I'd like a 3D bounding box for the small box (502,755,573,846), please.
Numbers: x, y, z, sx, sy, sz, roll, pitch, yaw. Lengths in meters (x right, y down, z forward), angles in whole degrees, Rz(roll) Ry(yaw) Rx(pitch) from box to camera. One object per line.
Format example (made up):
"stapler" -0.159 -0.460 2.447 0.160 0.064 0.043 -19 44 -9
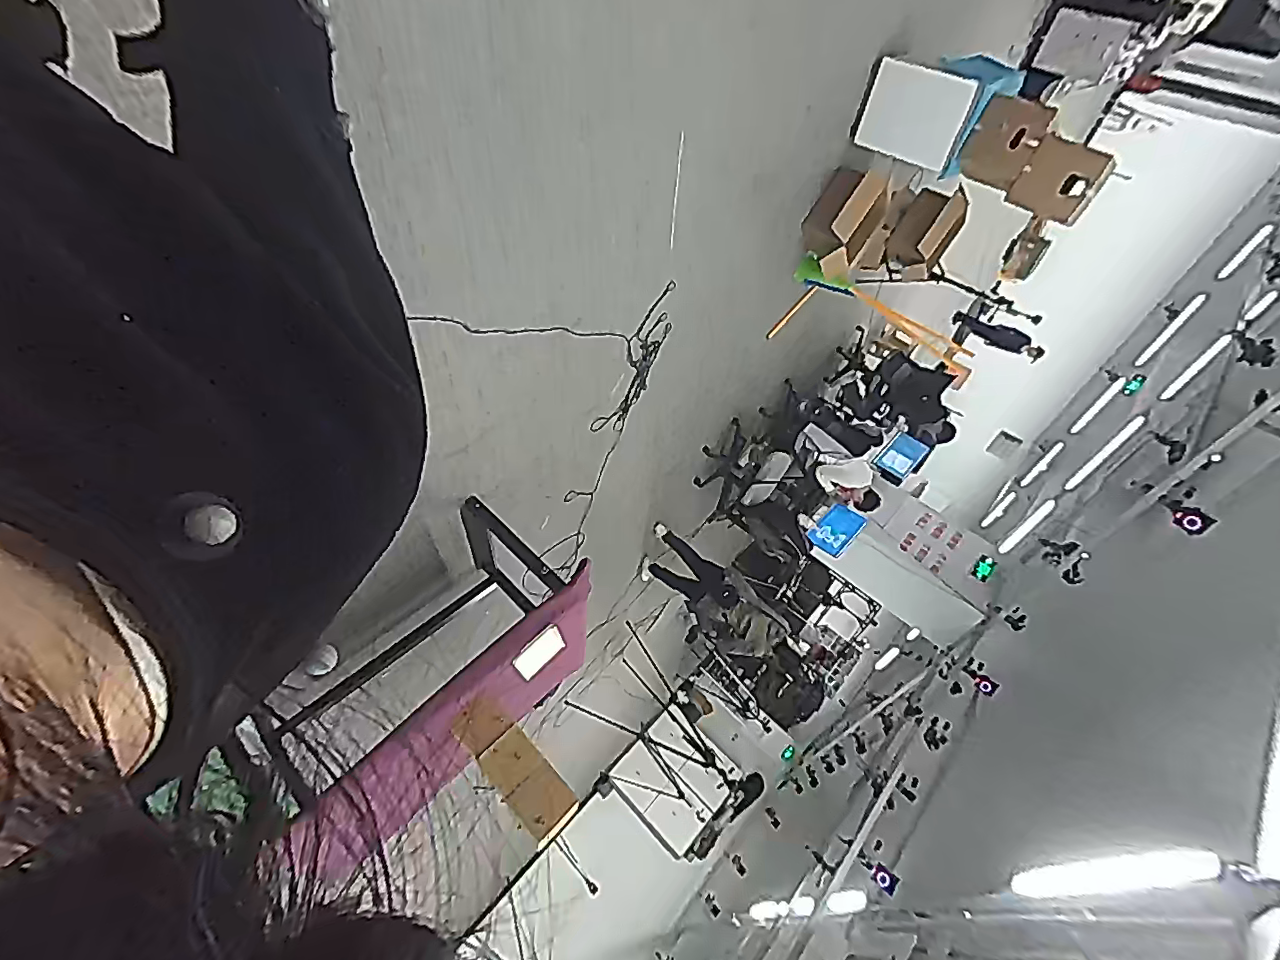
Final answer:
"small box" -0.345 1.059 1.790 0.179 0.176 0.168 -36 154 -34

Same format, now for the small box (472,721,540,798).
"small box" -0.460 0.965 1.862 0.168 0.176 0.179 -37 154 -32
